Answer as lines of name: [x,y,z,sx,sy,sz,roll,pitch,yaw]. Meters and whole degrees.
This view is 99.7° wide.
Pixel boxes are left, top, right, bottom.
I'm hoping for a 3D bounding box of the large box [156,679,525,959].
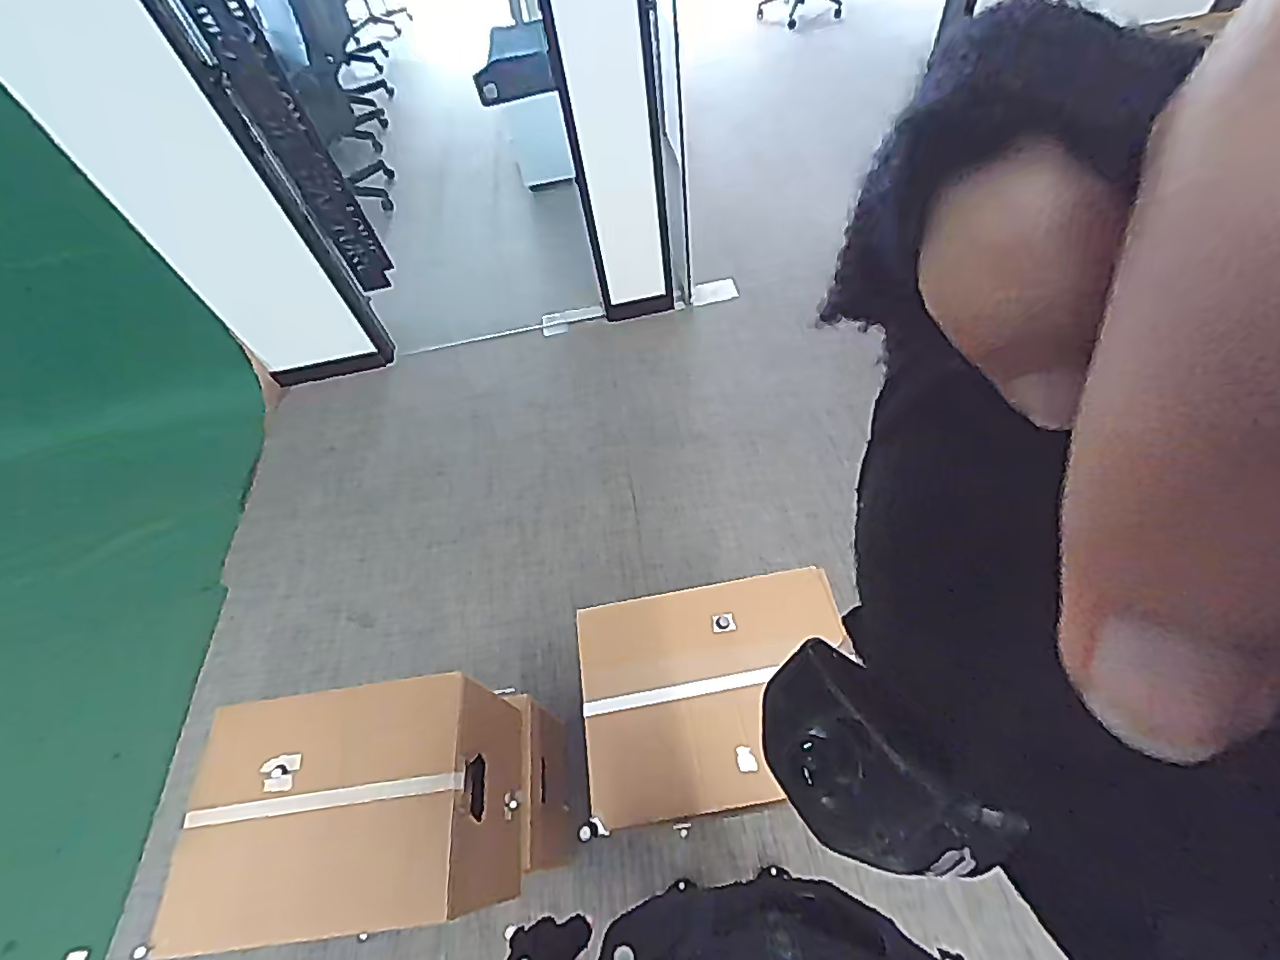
large box: [-0.428,0.548,0.891,0.408,0.320,0.320,-10,56,3]
